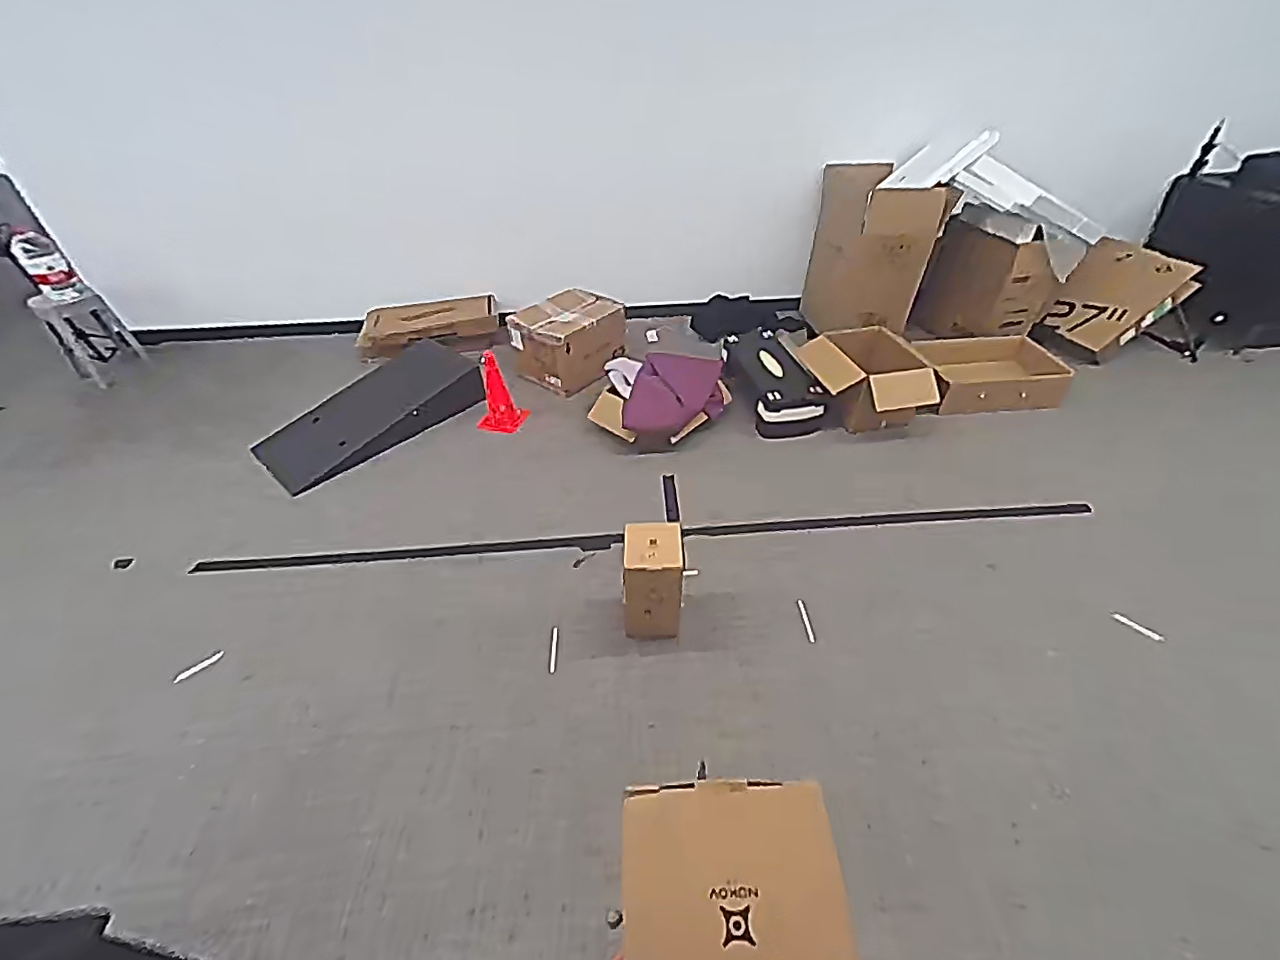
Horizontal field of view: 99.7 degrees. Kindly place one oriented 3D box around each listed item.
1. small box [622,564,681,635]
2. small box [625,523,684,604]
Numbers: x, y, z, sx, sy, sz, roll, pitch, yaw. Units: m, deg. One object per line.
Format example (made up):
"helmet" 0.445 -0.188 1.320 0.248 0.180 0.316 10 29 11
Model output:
"small box" 0.038 0.373 1.699 0.179 0.176 0.168 0 41 1
"small box" 0.041 0.245 1.595 0.168 0.176 0.179 -1 41 1
